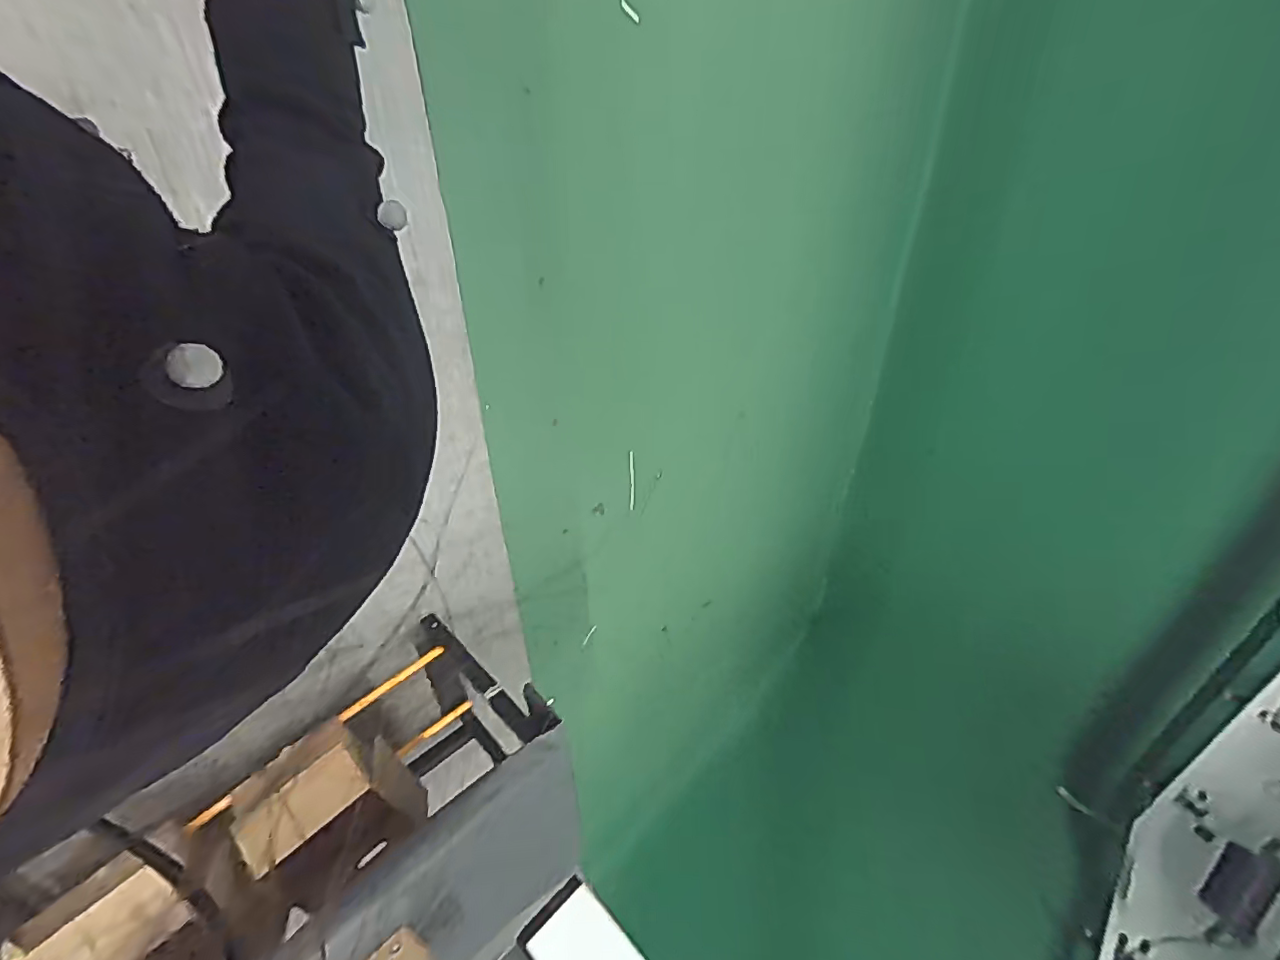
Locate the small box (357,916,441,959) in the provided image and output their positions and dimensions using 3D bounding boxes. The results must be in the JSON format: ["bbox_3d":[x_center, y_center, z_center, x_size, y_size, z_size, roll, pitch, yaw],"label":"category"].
[{"bbox_3d":[-0.554,1.170,1.253,0.168,0.176,0.179,-31,134,-33],"label":"small box"}]
